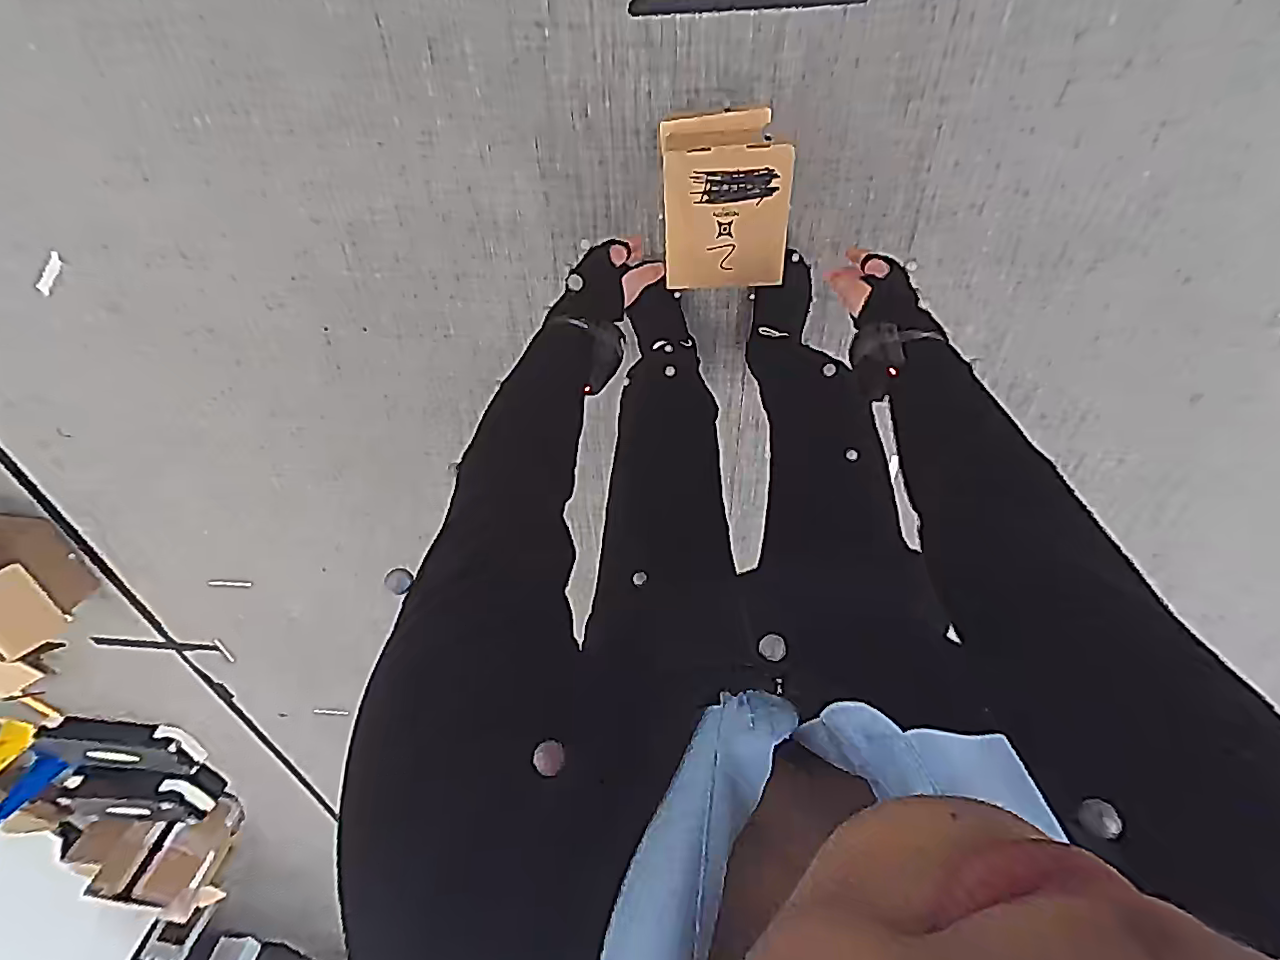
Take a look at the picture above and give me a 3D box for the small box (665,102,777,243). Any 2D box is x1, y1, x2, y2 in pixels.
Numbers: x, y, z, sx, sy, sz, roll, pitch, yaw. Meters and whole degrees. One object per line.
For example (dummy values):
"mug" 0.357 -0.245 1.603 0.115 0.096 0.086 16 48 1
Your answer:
"small box" 0.128 -0.510 0.891 0.168 0.176 0.179 -3 128 8
